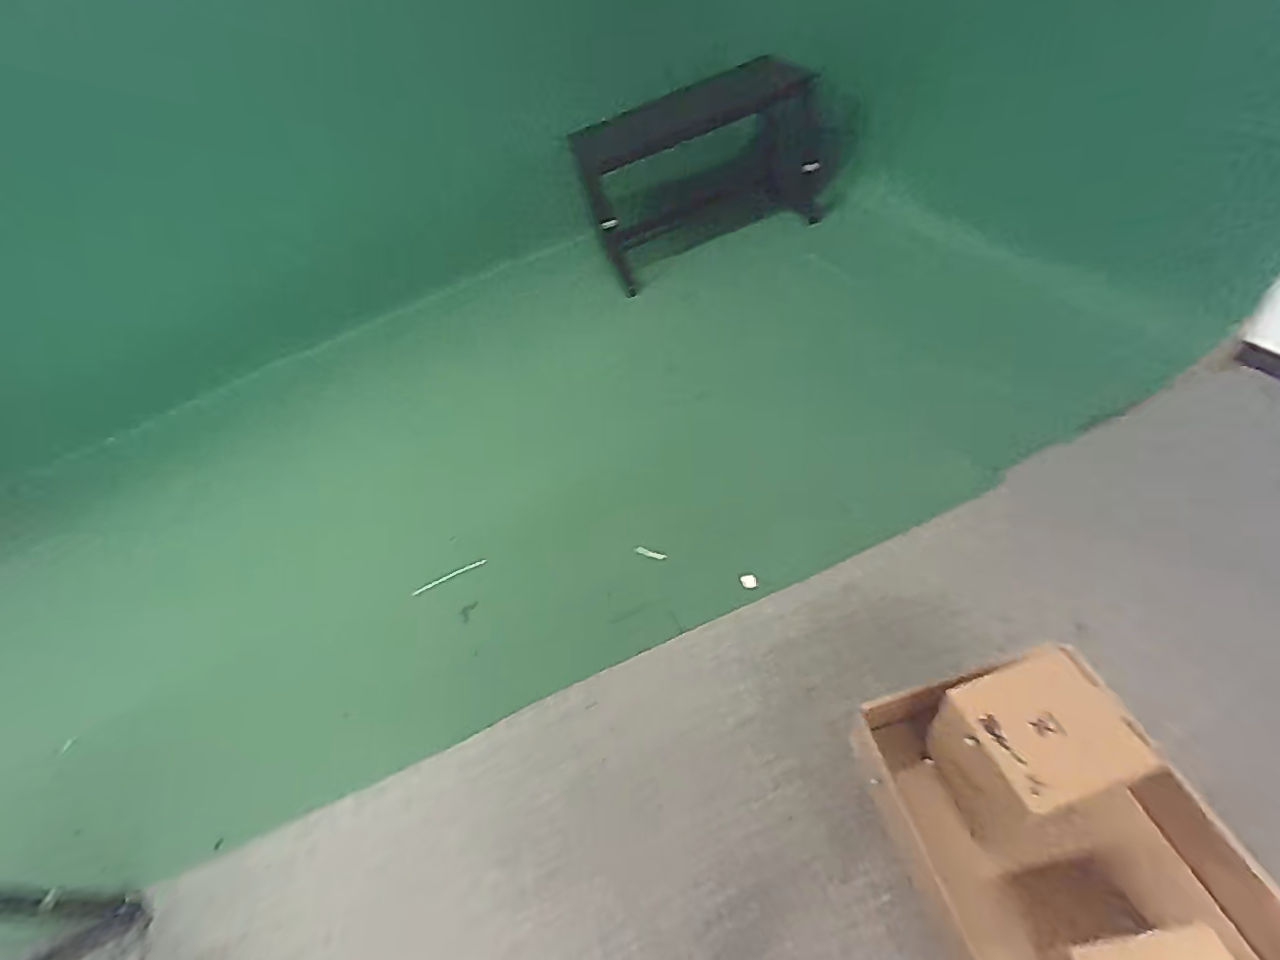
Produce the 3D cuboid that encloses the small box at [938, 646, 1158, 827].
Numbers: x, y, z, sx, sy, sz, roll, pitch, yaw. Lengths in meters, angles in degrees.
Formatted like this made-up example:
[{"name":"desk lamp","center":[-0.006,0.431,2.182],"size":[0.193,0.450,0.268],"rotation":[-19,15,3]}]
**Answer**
[{"name":"small box","center":[0.565,0.374,0.782],"size":[0.179,0.176,0.168],"rotation":[-22,46,2]}]
